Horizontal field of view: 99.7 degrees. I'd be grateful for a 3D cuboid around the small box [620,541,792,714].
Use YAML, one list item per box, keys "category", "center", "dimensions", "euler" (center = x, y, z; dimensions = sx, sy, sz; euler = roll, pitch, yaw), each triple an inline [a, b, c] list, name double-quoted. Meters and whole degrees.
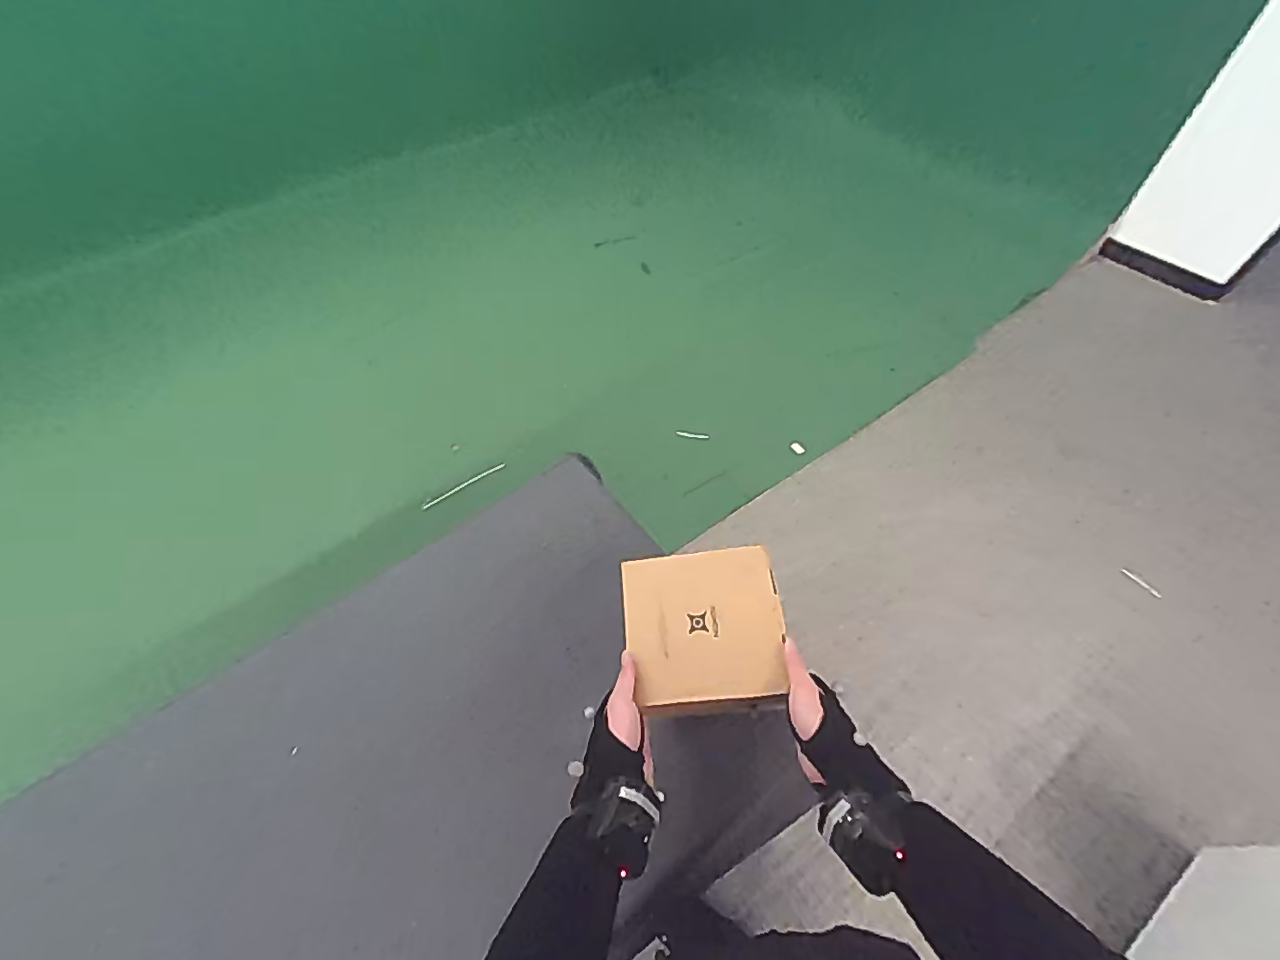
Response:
- category: "small box"
  center: [0.080, 0.189, 0.665]
  dimensions: [0.179, 0.176, 0.168]
  euler: [-9, 61, 9]
